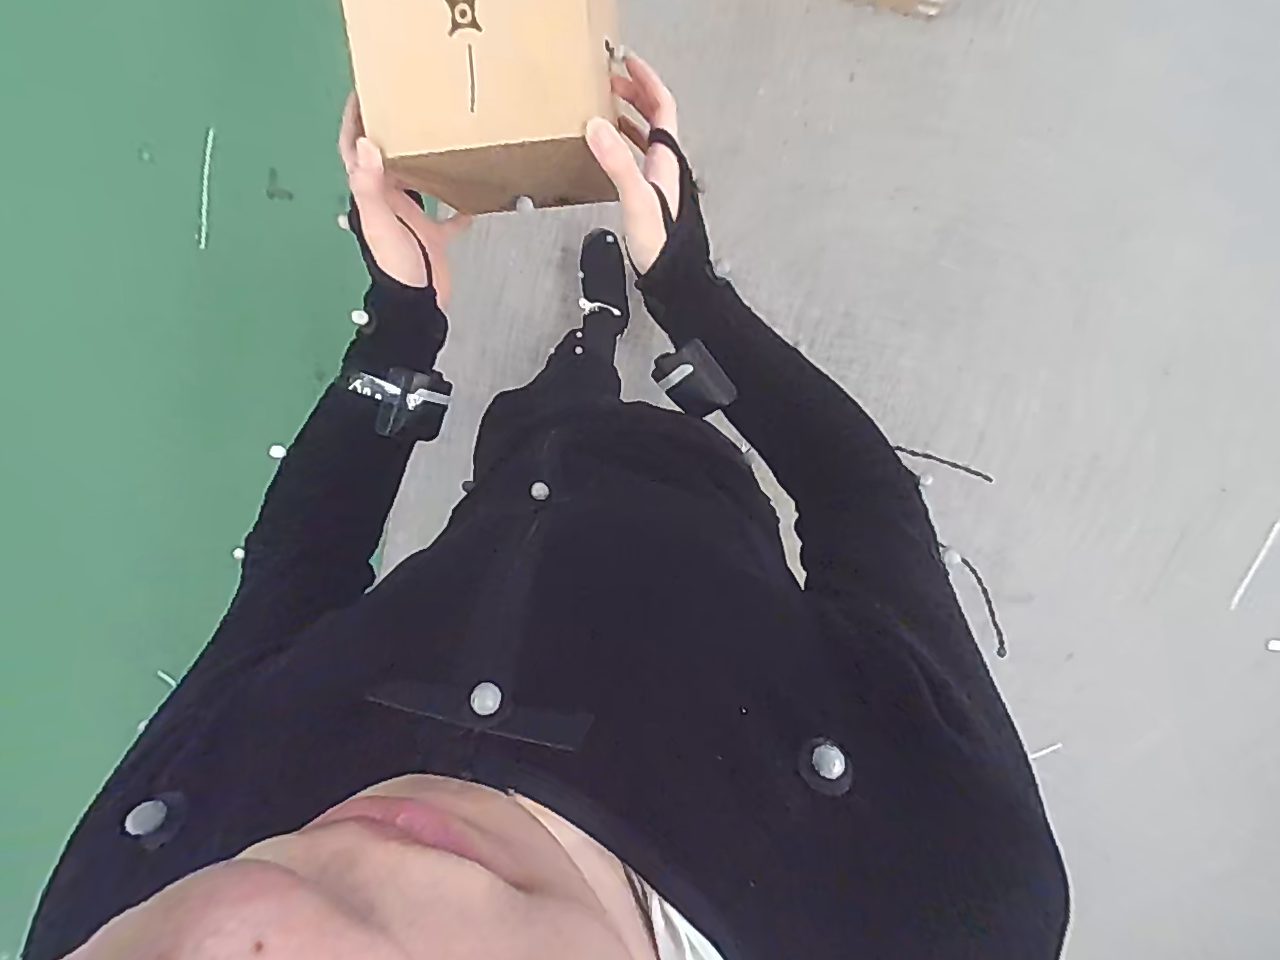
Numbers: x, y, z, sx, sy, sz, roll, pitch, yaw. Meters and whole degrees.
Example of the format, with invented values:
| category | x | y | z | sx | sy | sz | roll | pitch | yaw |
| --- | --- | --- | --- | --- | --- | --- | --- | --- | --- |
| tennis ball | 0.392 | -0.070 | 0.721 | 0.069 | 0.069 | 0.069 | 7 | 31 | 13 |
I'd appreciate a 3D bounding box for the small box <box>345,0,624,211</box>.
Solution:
| category | x | y | z | sx | sy | sz | roll | pitch | yaw |
| --- | --- | --- | --- | --- | --- | --- | --- | --- | --- |
| small box | -0.105 | -0.330 | 0.424 | 0.168 | 0.176 | 0.179 | -1 | 104 | 6 |
